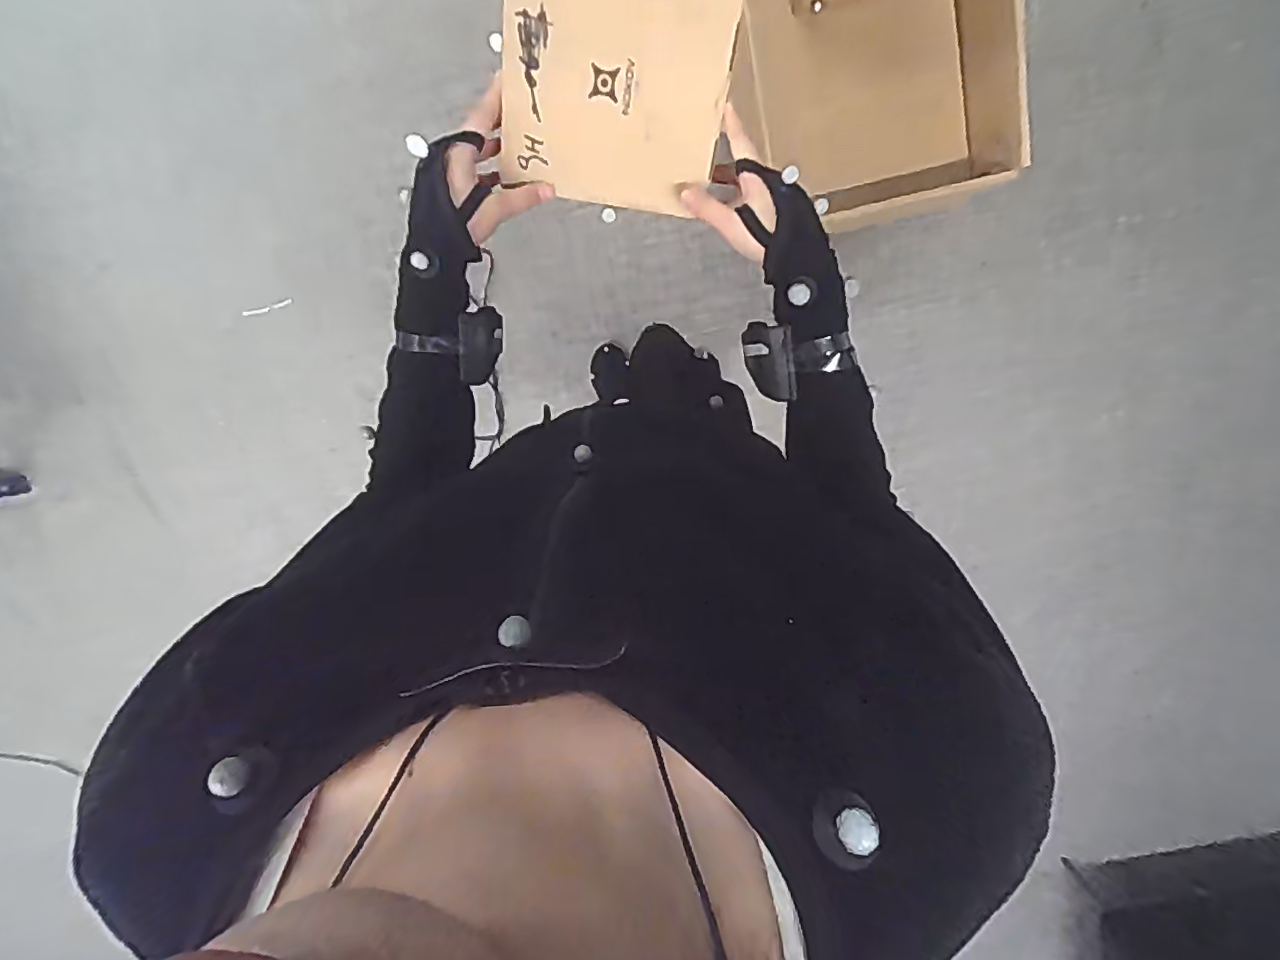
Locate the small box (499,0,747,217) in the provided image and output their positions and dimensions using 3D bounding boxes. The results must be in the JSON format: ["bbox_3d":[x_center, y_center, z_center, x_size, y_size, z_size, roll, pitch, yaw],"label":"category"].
[{"bbox_3d":[-0.020,-0.343,0.485,0.179,0.176,0.168,8,116,-4],"label":"small box"}]
